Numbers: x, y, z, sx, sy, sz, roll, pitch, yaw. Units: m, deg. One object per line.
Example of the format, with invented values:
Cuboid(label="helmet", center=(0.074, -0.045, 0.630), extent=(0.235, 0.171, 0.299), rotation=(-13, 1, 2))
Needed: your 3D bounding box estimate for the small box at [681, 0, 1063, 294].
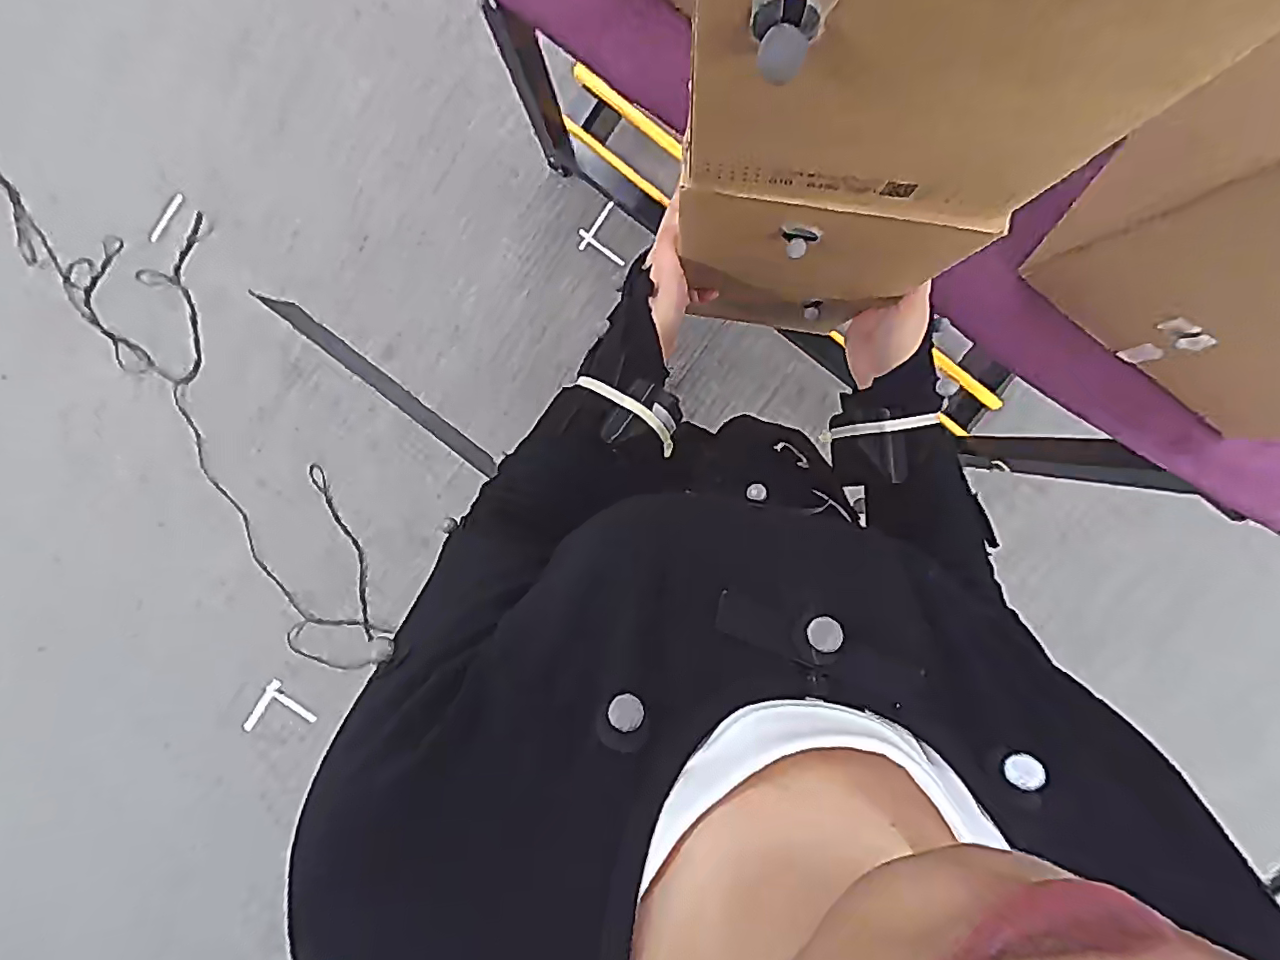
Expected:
Cuboid(label="small box", center=(0.124, -0.232, 0.352), extent=(0.179, 0.176, 0.168), rotation=(9, 96, 2))

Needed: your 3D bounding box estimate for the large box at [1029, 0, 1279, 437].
Cuboid(label="large box", center=(0.647, -0.281, 0.430), extent=(0.320, 0.320, 0.408), rotation=(37, 94, -2))
